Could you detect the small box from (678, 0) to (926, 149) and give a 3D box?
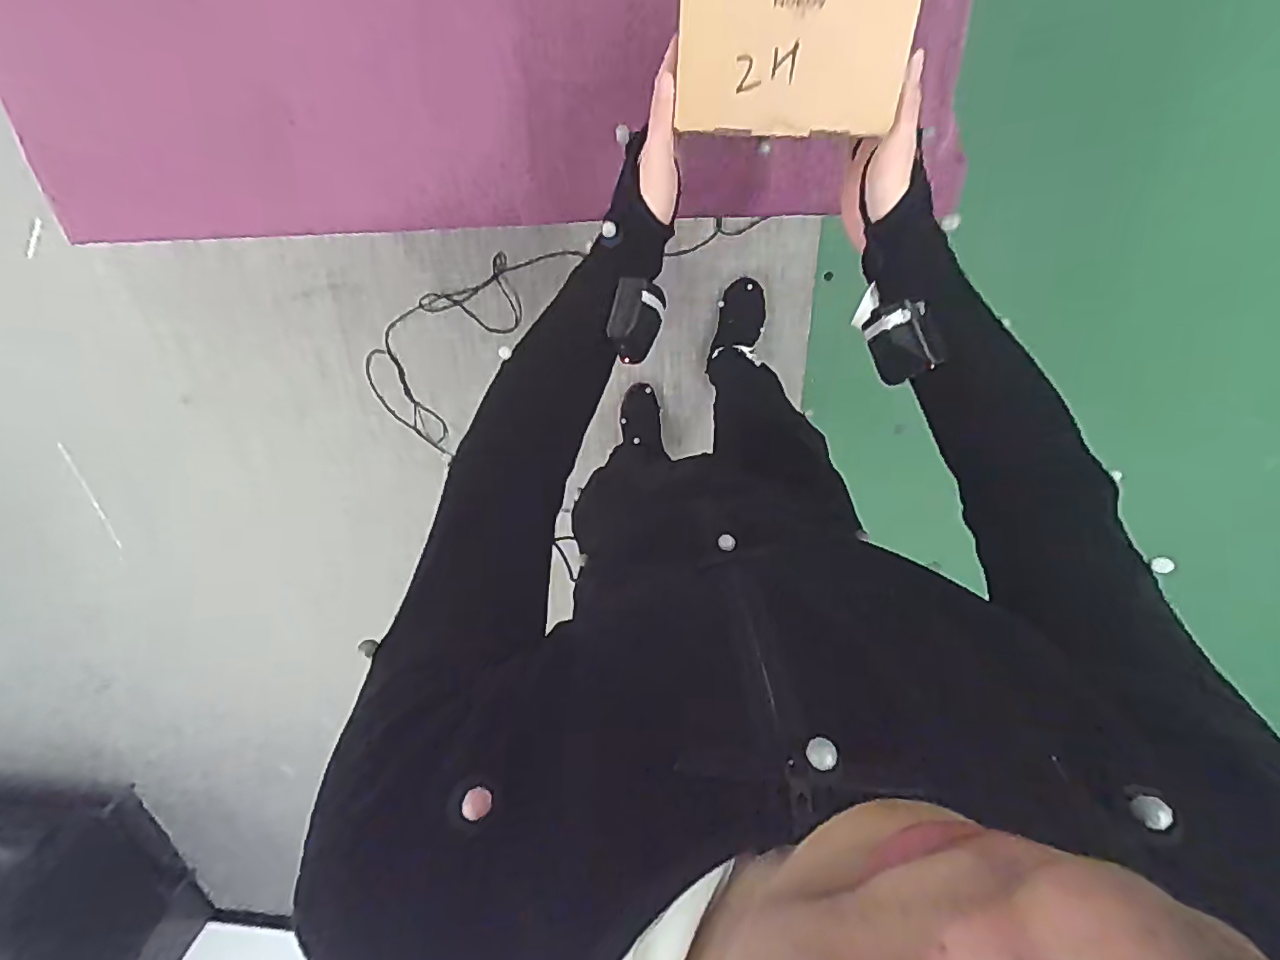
[{"bbox_3d":[0.119,-0.374,0.436,0.168,0.176,0.179,4,123,4],"label":"small box"}]
